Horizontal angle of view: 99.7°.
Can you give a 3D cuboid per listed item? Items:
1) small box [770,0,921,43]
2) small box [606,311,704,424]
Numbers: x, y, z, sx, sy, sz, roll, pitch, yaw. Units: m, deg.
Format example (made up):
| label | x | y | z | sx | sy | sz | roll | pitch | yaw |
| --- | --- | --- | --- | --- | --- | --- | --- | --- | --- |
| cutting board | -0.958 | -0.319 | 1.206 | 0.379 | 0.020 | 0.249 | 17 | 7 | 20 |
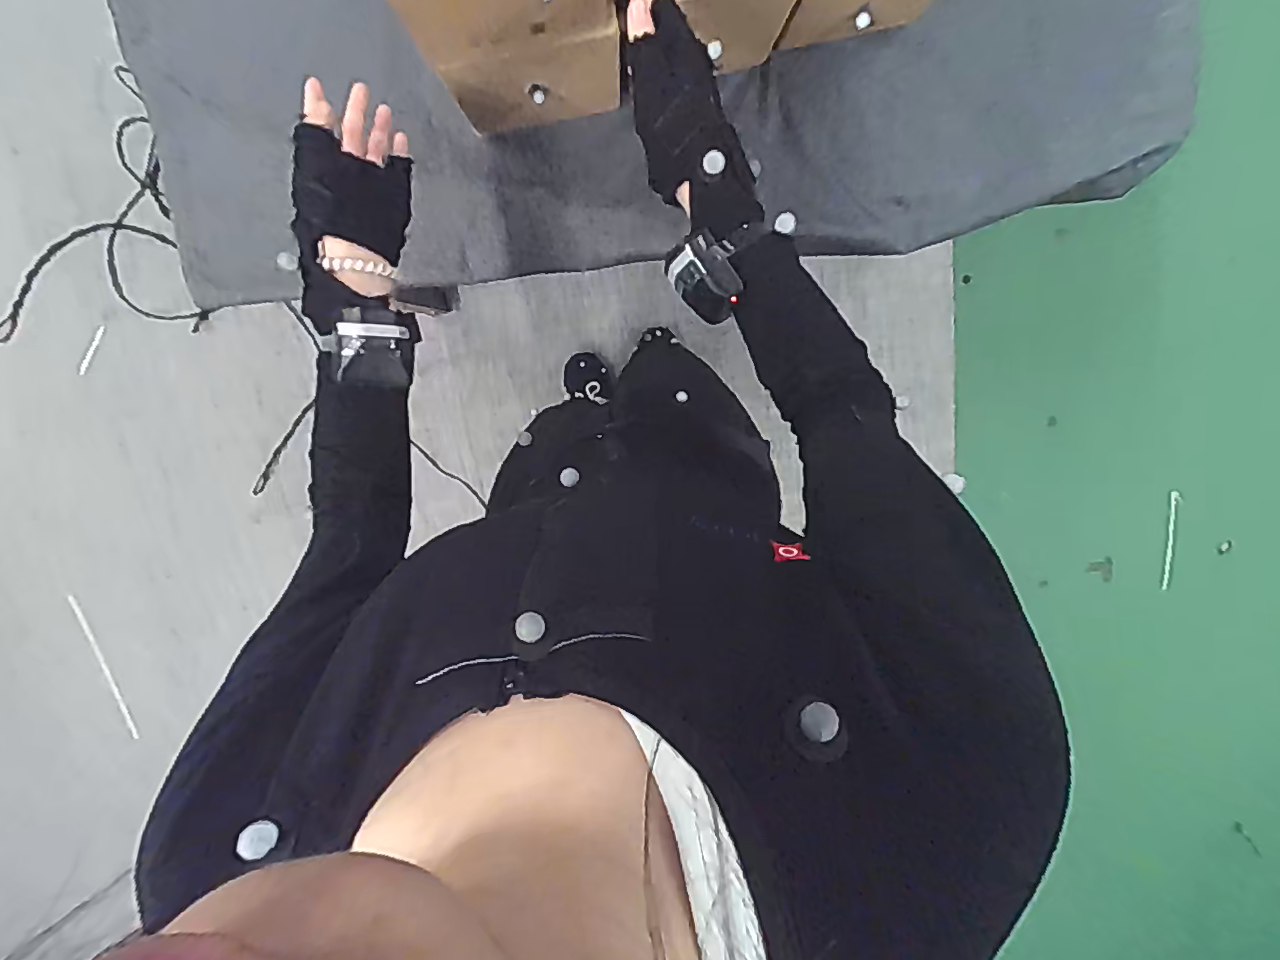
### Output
| label | x | y | z | sx | sy | sz | roll | pitch | yaw |
| --- | --- | --- | --- | --- | --- | --- | --- | --- | --- |
| small box | 0.225 | -0.594 | 0.541 | 0.168 | 0.176 | 0.179 | -11 | 104 | 1 |
| small box | 0.037 | -0.276 | 1.346 | 0.168 | 0.176 | 0.179 | 39 | 72 | 20 |
